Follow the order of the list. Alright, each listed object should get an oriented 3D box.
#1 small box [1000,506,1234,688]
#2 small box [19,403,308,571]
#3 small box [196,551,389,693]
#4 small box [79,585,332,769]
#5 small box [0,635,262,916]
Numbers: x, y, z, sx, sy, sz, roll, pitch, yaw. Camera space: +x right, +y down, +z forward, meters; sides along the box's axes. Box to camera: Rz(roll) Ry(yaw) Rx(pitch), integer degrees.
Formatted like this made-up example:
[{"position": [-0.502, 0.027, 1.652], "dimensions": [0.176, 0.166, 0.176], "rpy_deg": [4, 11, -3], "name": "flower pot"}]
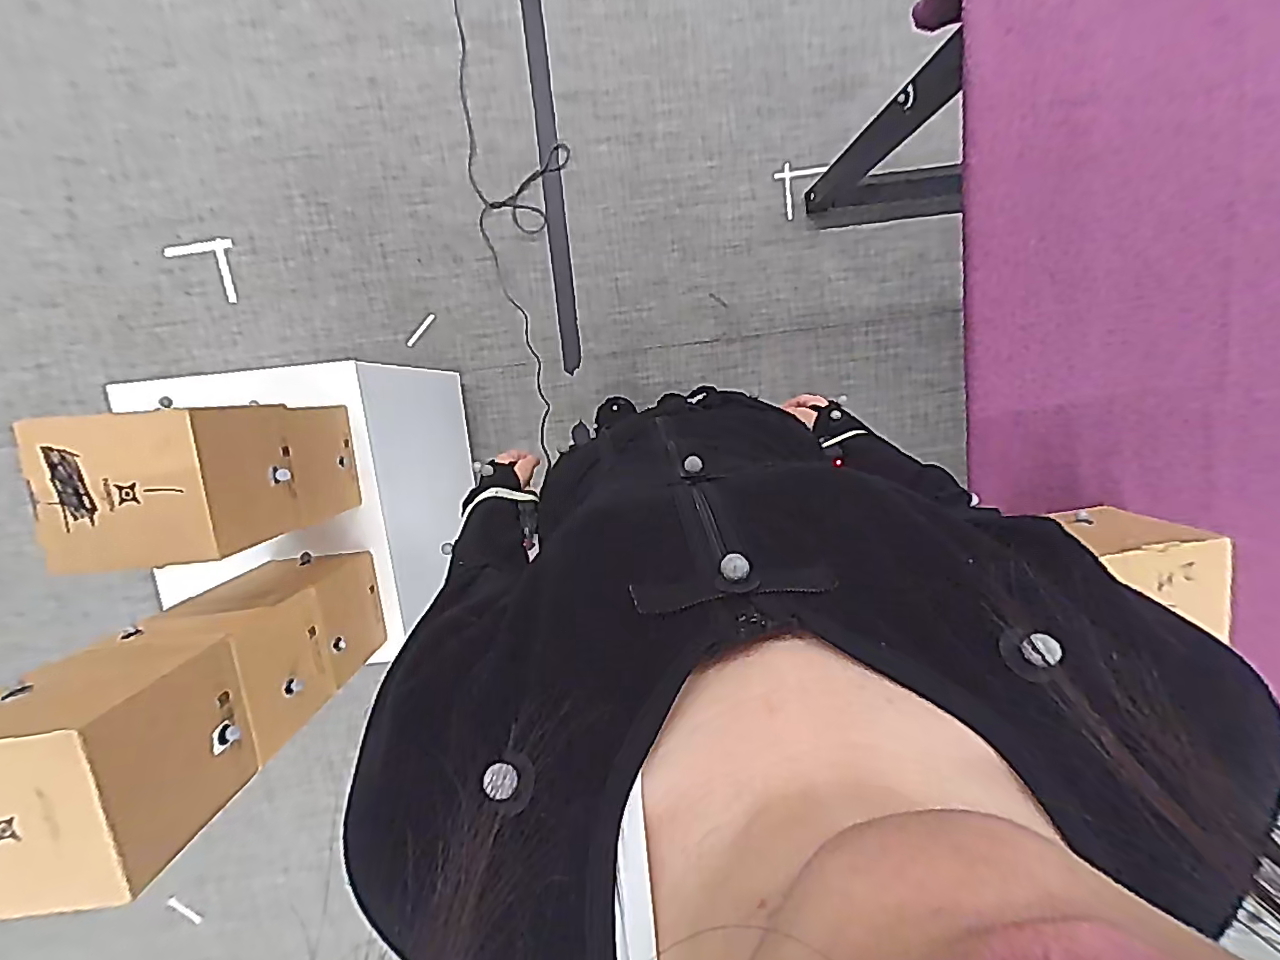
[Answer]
[{"position": [0.612, 0.145, 0.718], "dimensions": [0.168, 0.176, 0.179], "rpy_deg": [-8, 99, -1], "name": "small box"}, {"position": [-0.535, -0.002, 0.635], "dimensions": [0.179, 0.176, 0.168], "rpy_deg": [-4, 100, -2], "name": "small box"}, {"position": [-0.523, 0.216, 0.839], "dimensions": [0.179, 0.176, 0.168], "rpy_deg": [-5, 100, 1], "name": "small box"}, {"position": [-0.518, 0.242, 0.679], "dimensions": [0.179, 0.176, 0.168], "rpy_deg": [-7, 100, 0], "name": "small box"}, {"position": [-0.517, 0.267, 0.518], "dimensions": [0.179, 0.176, 0.168], "rpy_deg": [-7, 100, -1], "name": "small box"}]
